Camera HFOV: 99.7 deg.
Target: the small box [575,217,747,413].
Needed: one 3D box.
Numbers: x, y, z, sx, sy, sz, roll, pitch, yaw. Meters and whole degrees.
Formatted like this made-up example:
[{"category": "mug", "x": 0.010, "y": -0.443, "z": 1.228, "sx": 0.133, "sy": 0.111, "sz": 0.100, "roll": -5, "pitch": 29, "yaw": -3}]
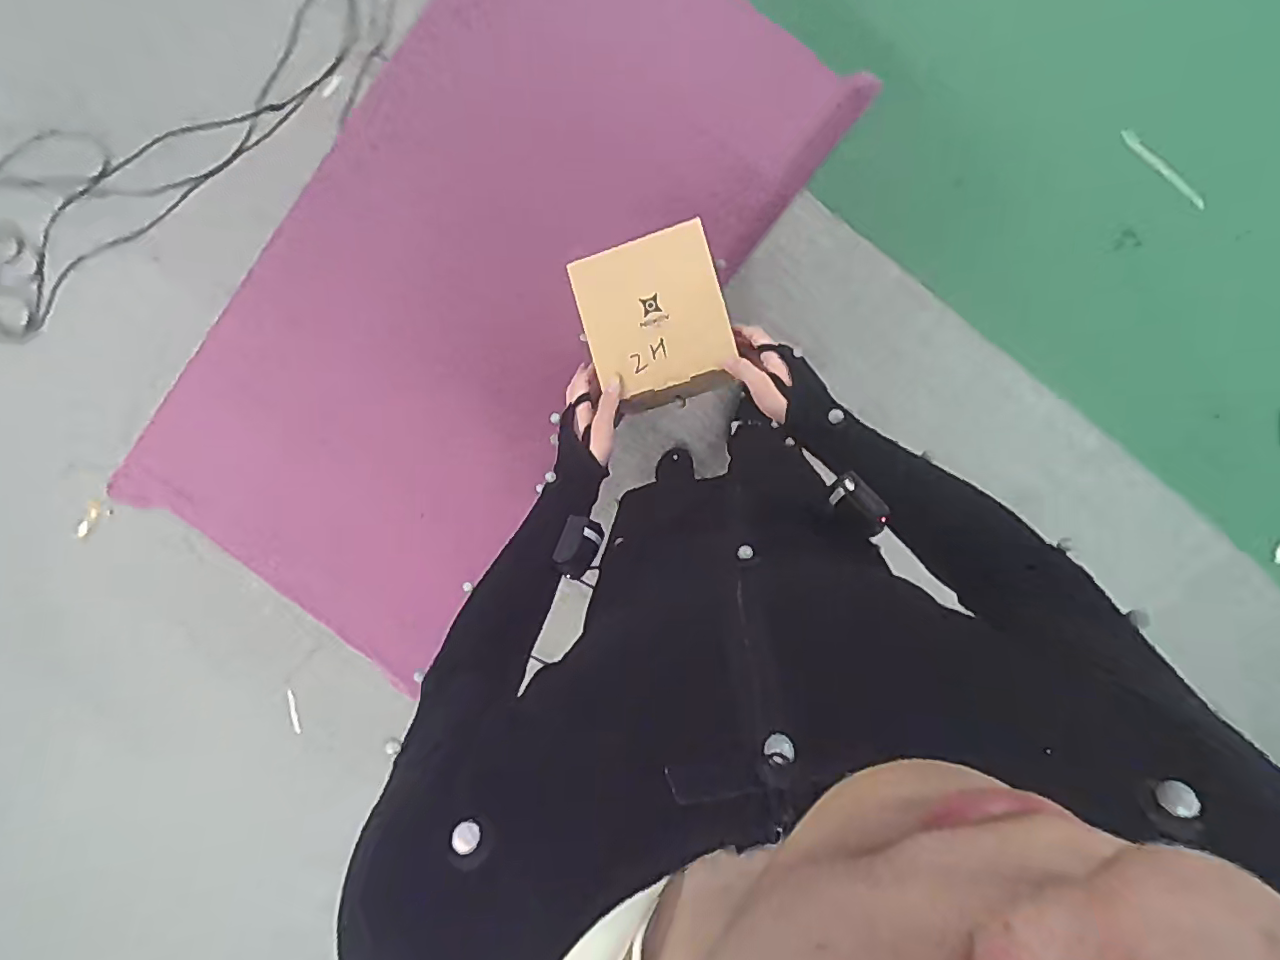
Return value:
[{"category": "small box", "x": 0.032, "y": -0.195, "z": 0.695, "sx": 0.168, "sy": 0.176, "sz": 0.179, "roll": -15, "pitch": 90, "yaw": 9}]
